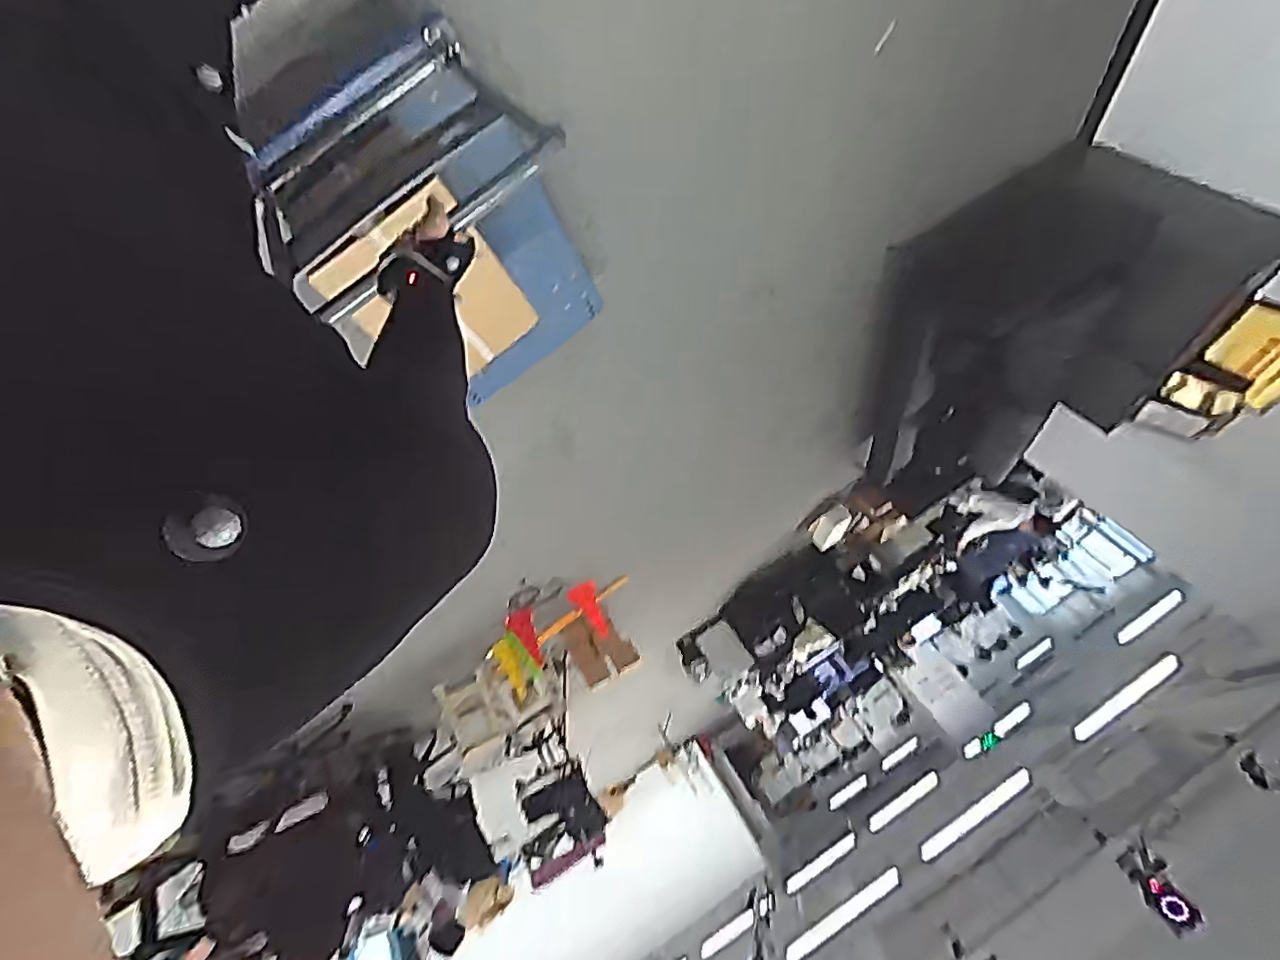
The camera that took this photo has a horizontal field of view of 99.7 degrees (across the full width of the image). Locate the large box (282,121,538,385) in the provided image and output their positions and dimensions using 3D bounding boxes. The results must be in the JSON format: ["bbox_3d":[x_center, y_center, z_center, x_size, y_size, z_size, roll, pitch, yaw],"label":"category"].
[{"bbox_3d":[-0.515,-0.506,1.254,0.320,0.320,0.408,-37,149,1],"label":"large box"}]
